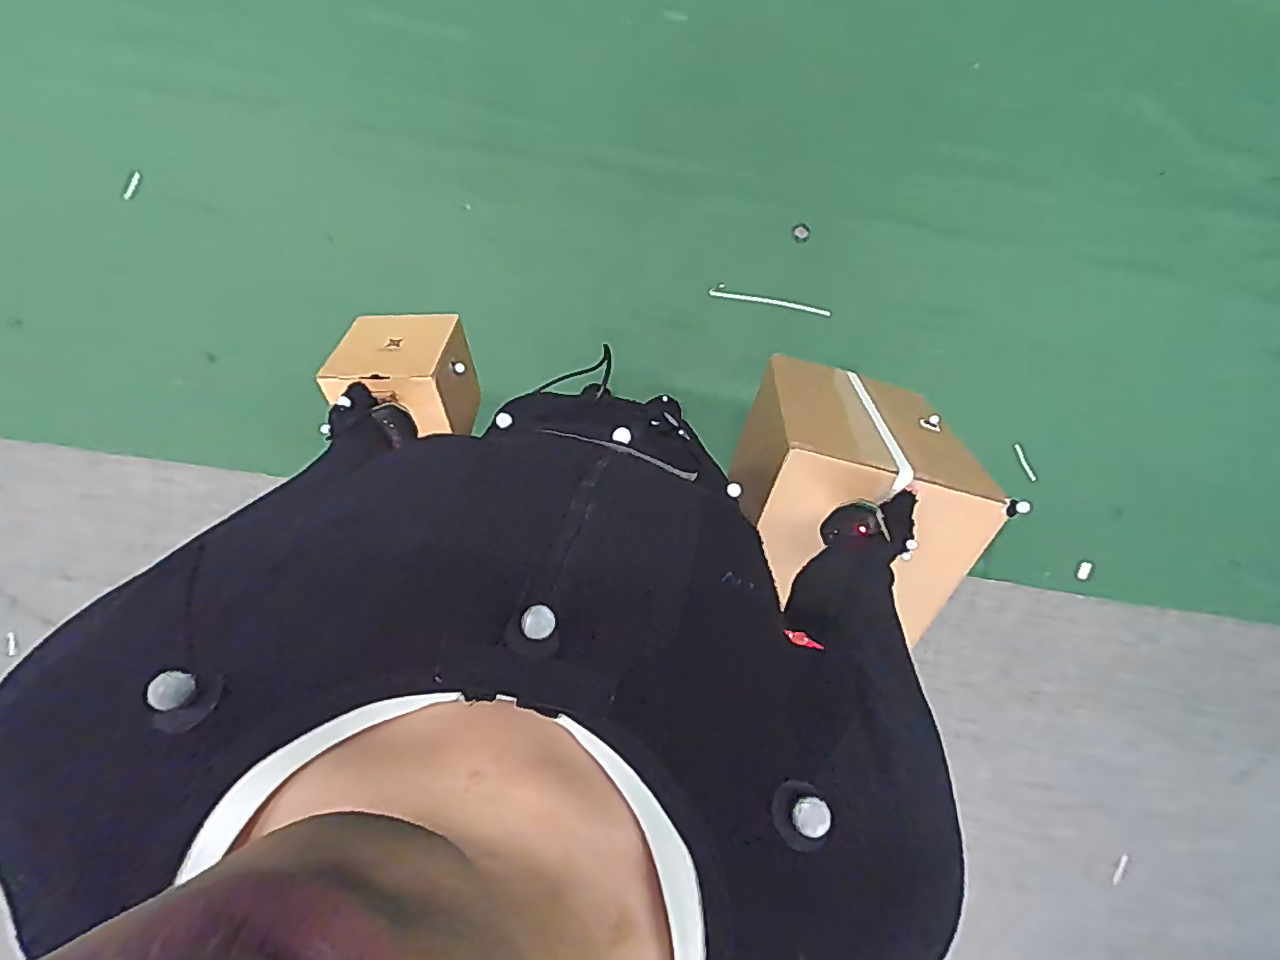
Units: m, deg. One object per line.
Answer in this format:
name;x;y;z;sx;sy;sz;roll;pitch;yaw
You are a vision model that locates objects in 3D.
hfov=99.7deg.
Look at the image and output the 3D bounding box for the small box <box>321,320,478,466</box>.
small box;-0.373;-0.142;0.882;0.168;0.179;0.176;-1;136;0
